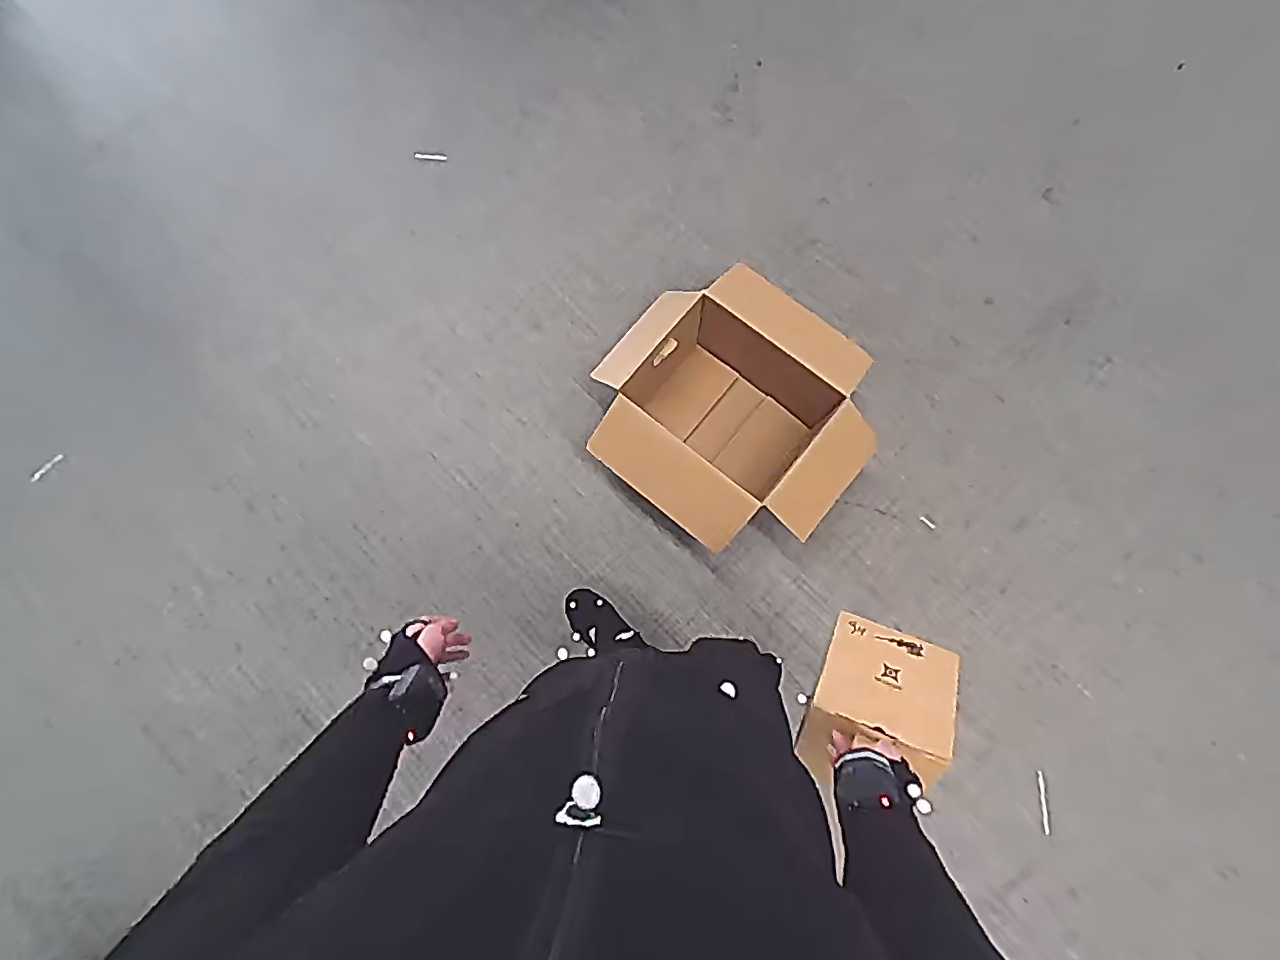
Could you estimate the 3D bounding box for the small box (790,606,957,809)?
[{"bbox_3d":[0.325,0.322,0.770,0.168,0.176,0.179,21,41,21],"label":"small box"}]
